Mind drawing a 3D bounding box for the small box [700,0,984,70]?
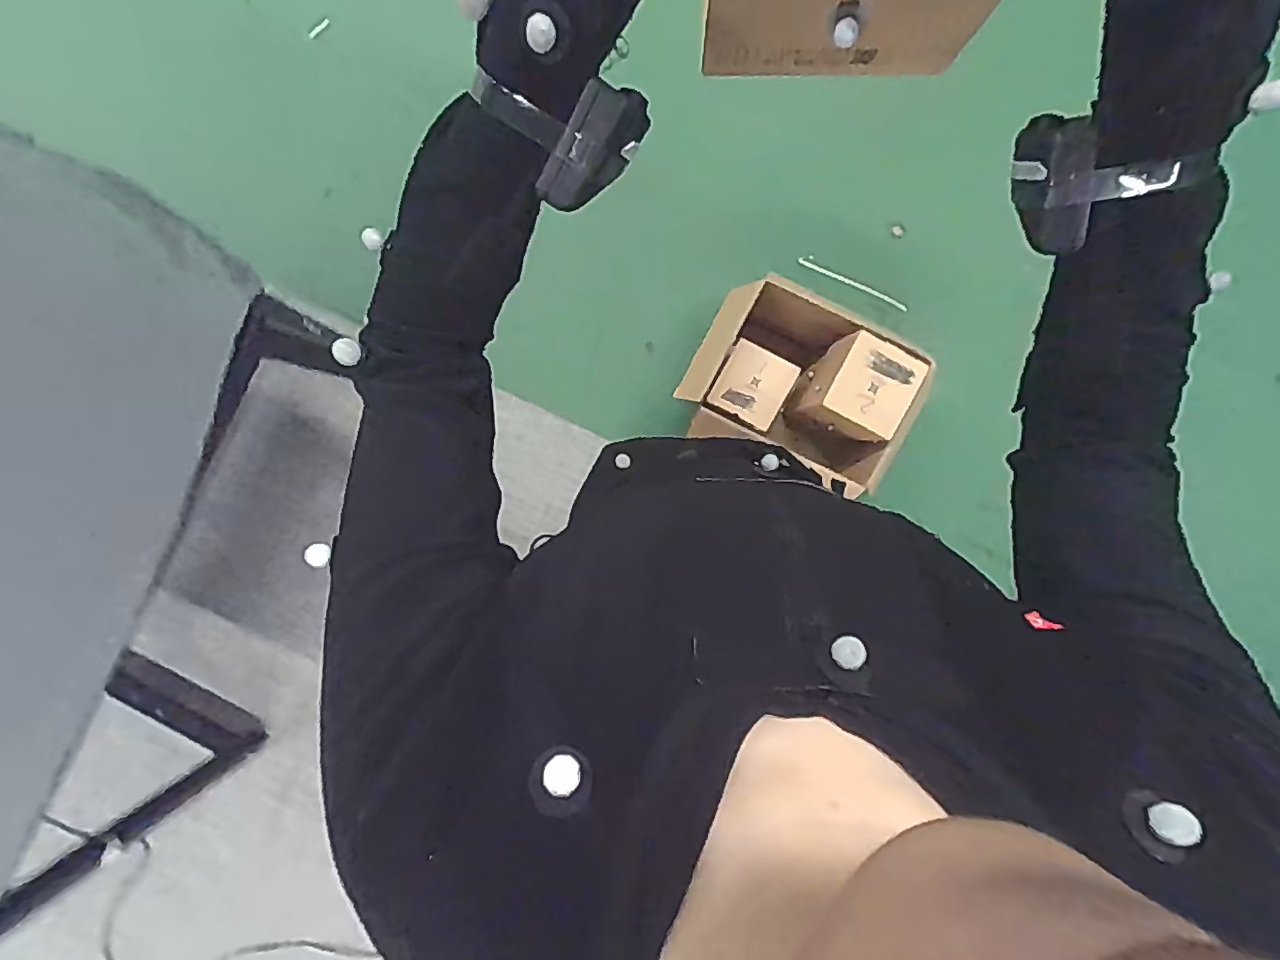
[{"bbox_3d":[0.119,-0.359,0.279,0.168,0.176,0.179,1,95,3],"label":"small box"}]
